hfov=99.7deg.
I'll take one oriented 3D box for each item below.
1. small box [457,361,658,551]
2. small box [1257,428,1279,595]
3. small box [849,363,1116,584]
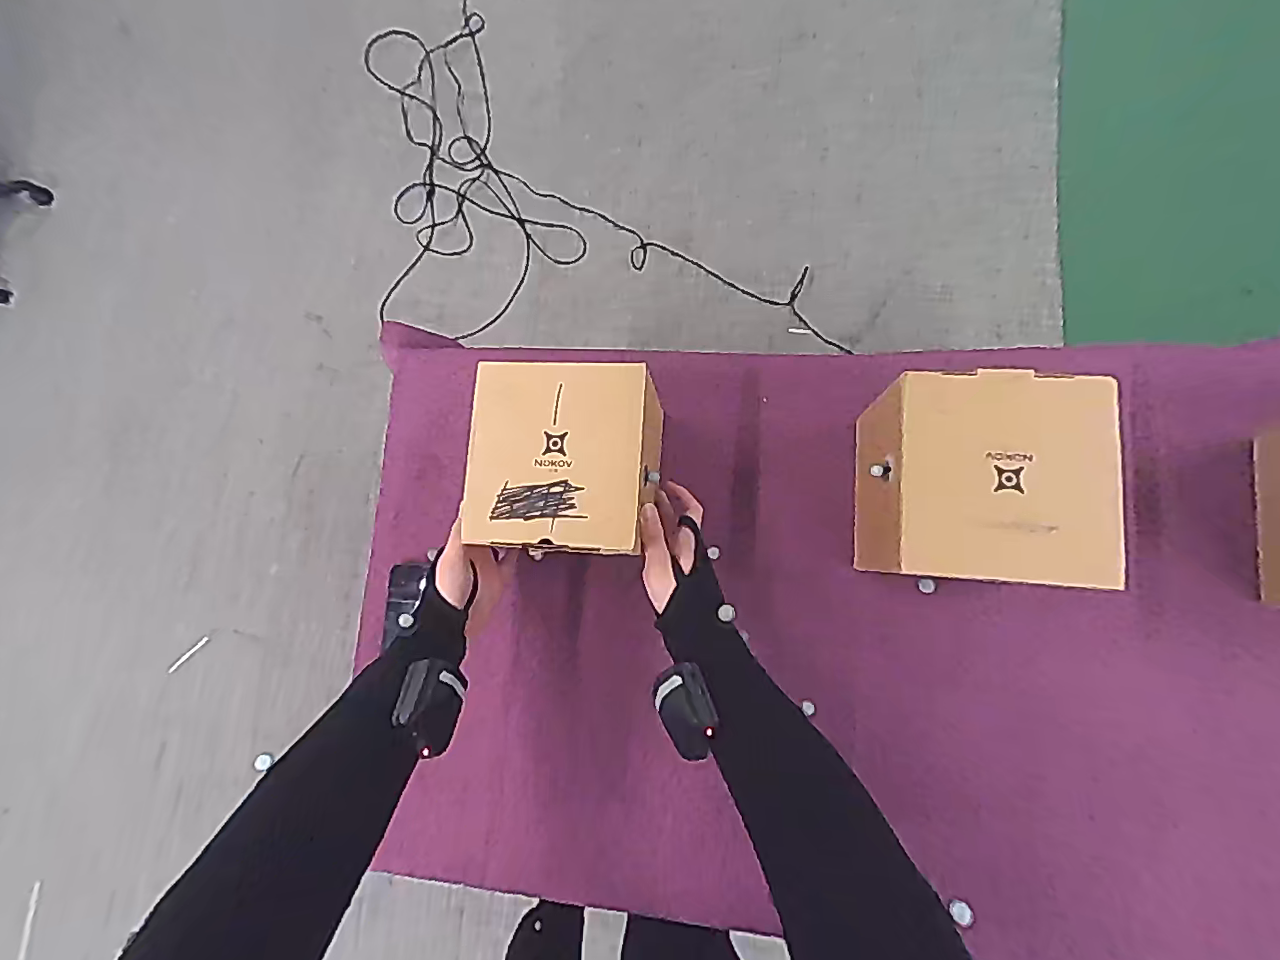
[{"bbox_3d":[-0.073,-0.016,0.576,0.168,0.176,0.179,2,82,9],"label":"small box"},{"bbox_3d":[0.690,0.026,0.454,0.168,0.176,0.179,4,81,10],"label":"small box"},{"bbox_3d":[0.305,0.002,0.518,0.168,0.176,0.179,3,82,10],"label":"small box"}]
